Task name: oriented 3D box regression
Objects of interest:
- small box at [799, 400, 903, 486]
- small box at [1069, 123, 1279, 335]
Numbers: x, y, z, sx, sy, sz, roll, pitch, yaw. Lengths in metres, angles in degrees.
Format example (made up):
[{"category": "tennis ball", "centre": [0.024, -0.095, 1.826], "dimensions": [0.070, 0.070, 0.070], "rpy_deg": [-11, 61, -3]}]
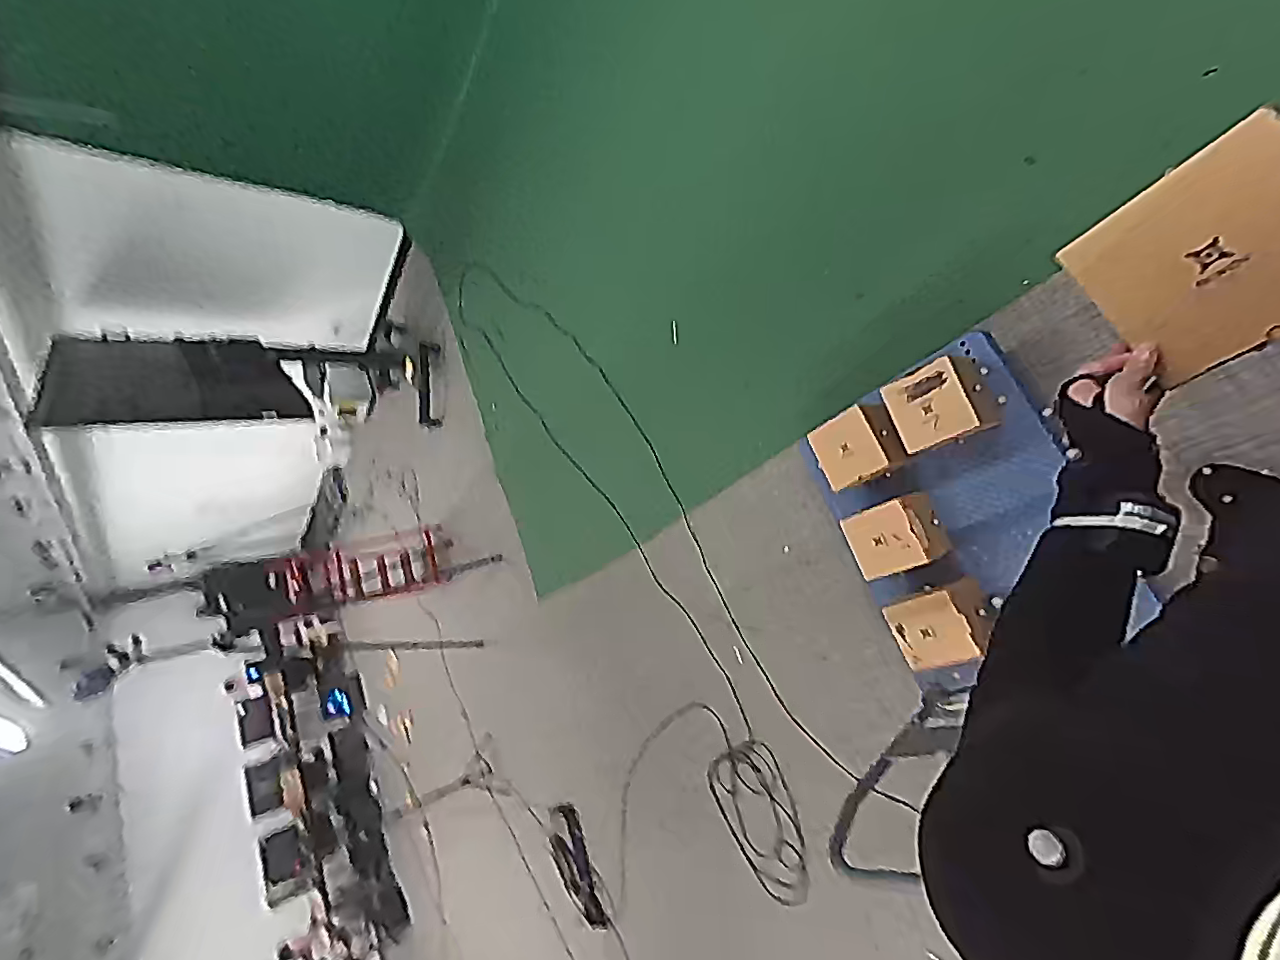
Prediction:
[{"category": "small box", "centre": [0.569, -0.104, 1.451], "dimensions": [0.168, 0.176, 0.179], "rpy_deg": [-36, 71, 43]}, {"category": "small box", "centre": [0.564, -0.241, 0.546], "dimensions": [0.179, 0.176, 0.168], "rpy_deg": [8, 111, 44]}]
